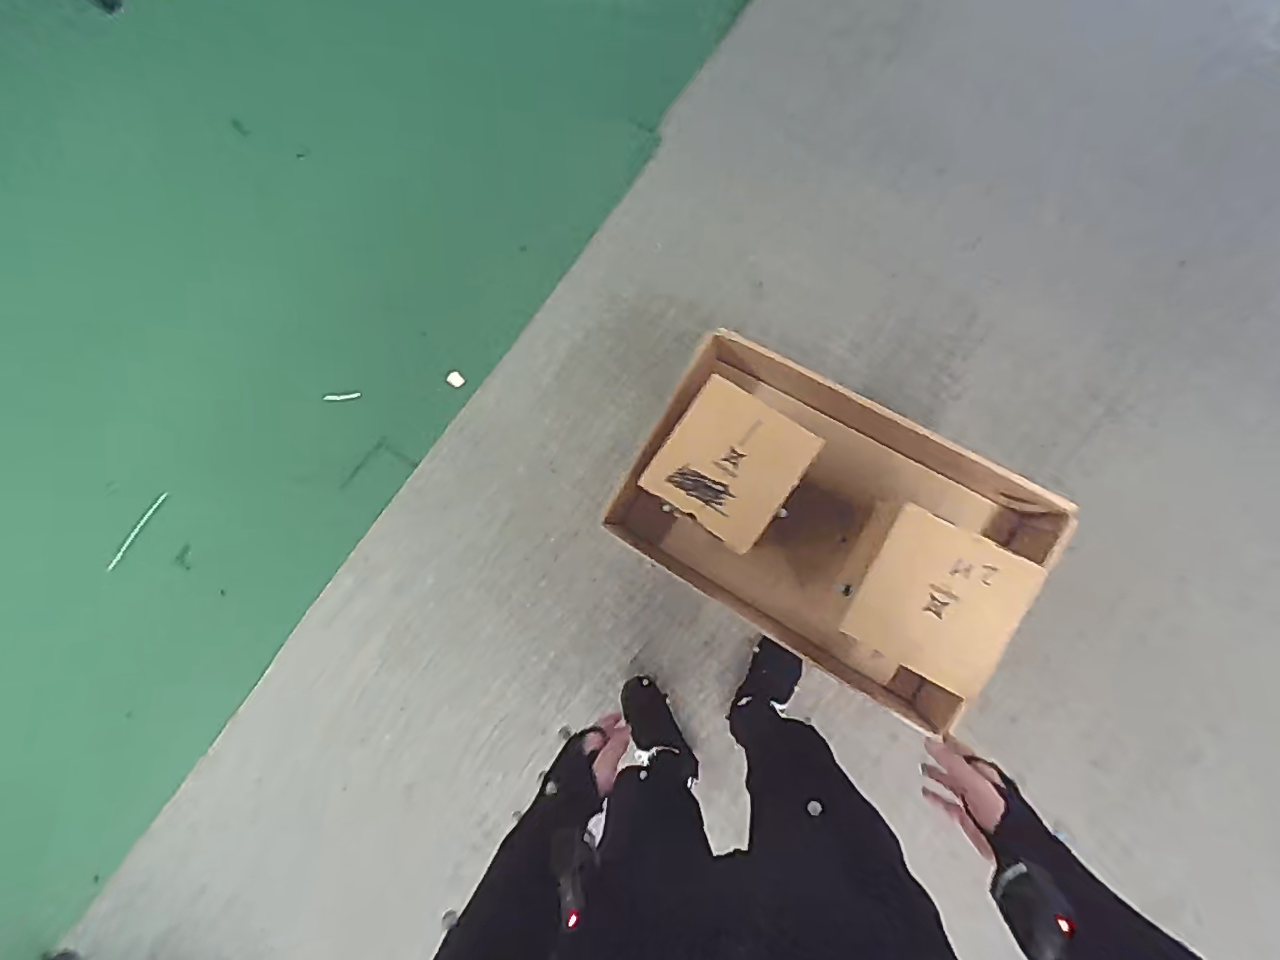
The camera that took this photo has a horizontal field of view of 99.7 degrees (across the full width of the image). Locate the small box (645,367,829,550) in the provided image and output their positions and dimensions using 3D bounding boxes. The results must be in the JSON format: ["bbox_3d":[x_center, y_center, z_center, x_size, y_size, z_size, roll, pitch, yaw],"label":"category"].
[{"bbox_3d":[0.133,-0.019,0.748,0.168,0.176,0.179,36,90,12],"label":"small box"}]

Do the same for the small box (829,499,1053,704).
[{"bbox_3d":[0.360,0.142,0.688,0.168,0.176,0.179,29,91,11],"label":"small box"}]
